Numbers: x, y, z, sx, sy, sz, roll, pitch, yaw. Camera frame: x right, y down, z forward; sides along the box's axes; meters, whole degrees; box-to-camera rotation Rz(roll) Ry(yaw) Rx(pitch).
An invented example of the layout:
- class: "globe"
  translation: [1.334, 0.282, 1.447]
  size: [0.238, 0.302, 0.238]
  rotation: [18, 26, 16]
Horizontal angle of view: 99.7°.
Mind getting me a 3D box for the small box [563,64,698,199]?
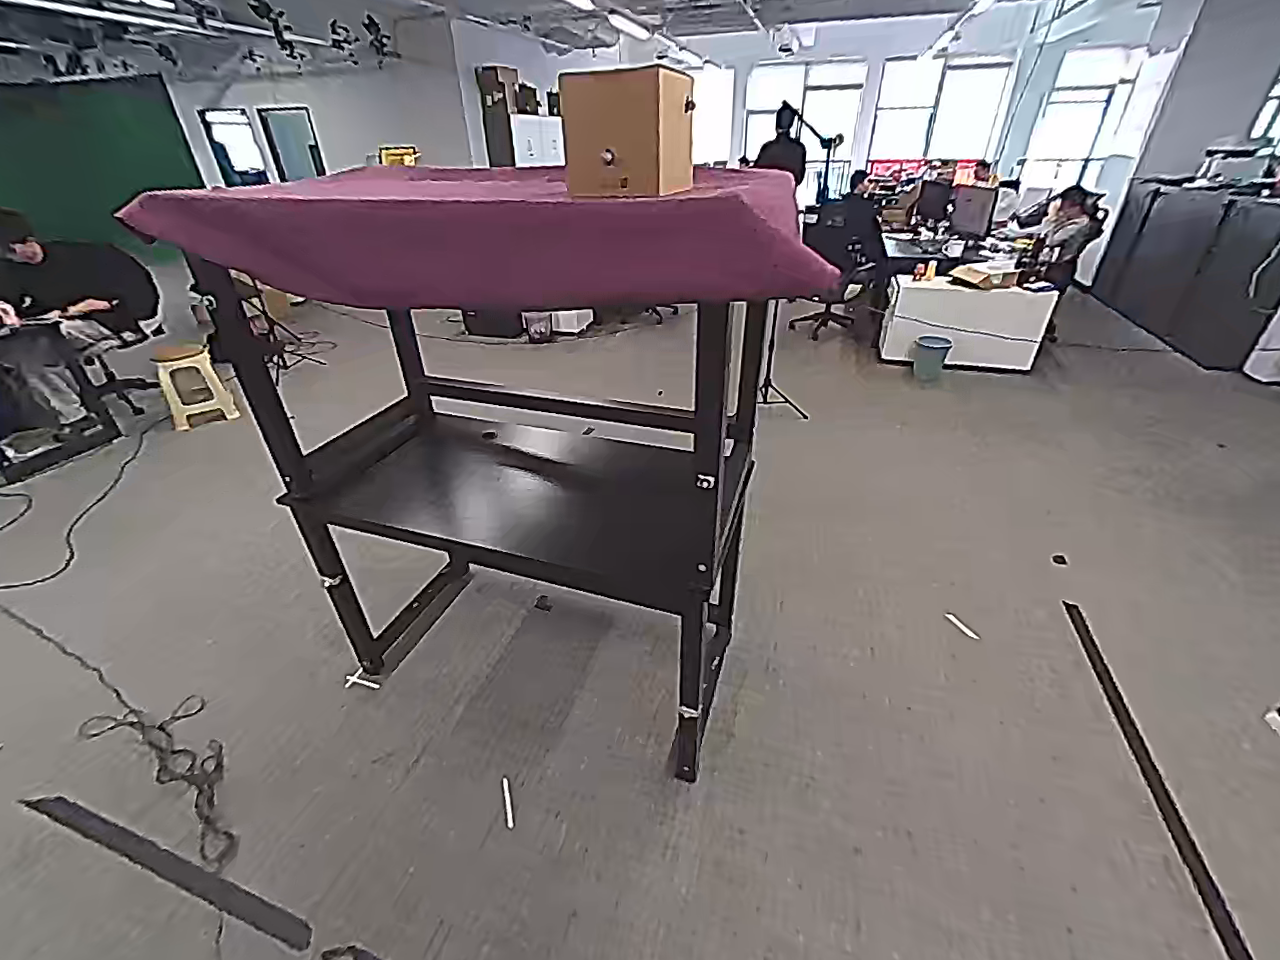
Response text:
- class: "small box"
  translation: [-0.011, -0.564, 0.889]
  size: [0.168, 0.176, 0.179]
  rotation: [11, 33, 20]
